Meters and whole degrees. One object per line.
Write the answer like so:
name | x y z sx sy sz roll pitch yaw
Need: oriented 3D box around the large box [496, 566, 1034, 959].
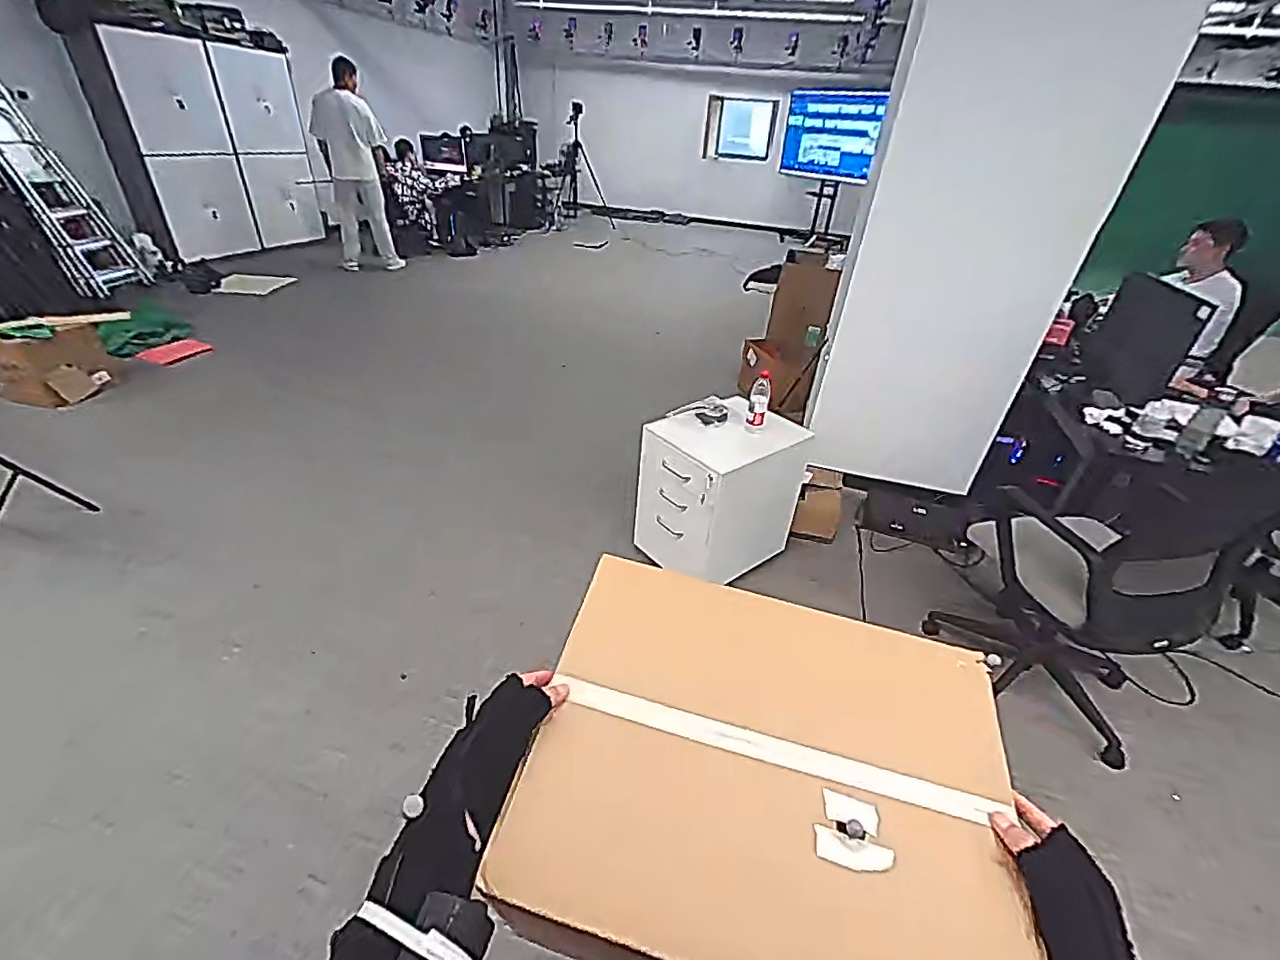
large box | 0.104 0.346 0.584 0.408 0.320 0.320 14 46 7
